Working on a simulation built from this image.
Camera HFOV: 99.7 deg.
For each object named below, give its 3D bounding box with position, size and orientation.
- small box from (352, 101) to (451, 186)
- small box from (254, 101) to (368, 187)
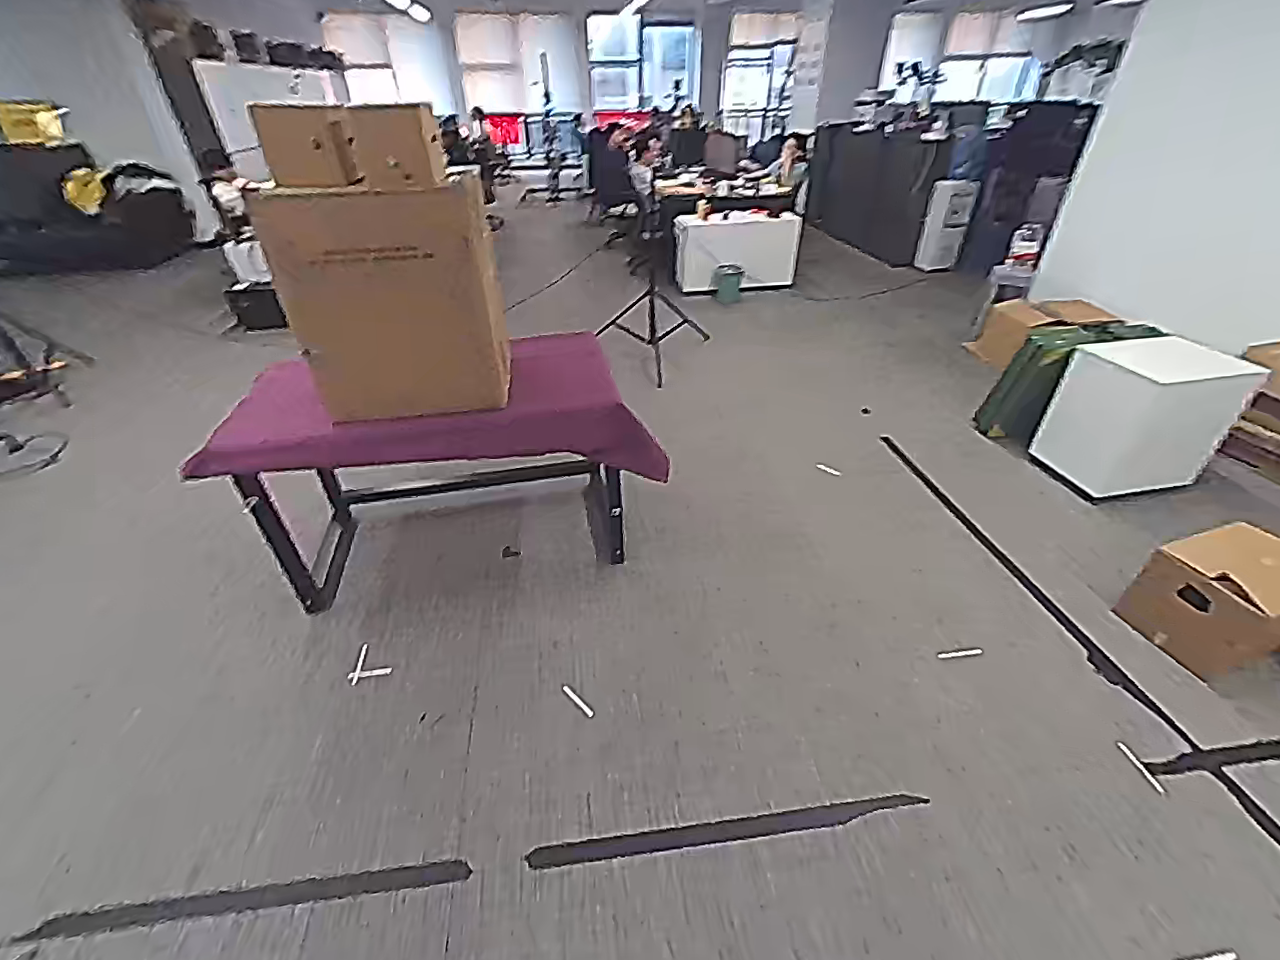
[{"bbox_3d":[-0.579,-0.837,1.342,0.168,0.176,0.179,-5,36,-4],"label":"small box"},{"bbox_3d":[-0.810,-0.843,1.356,0.179,0.176,0.168,-5,35,-6],"label":"small box"}]
